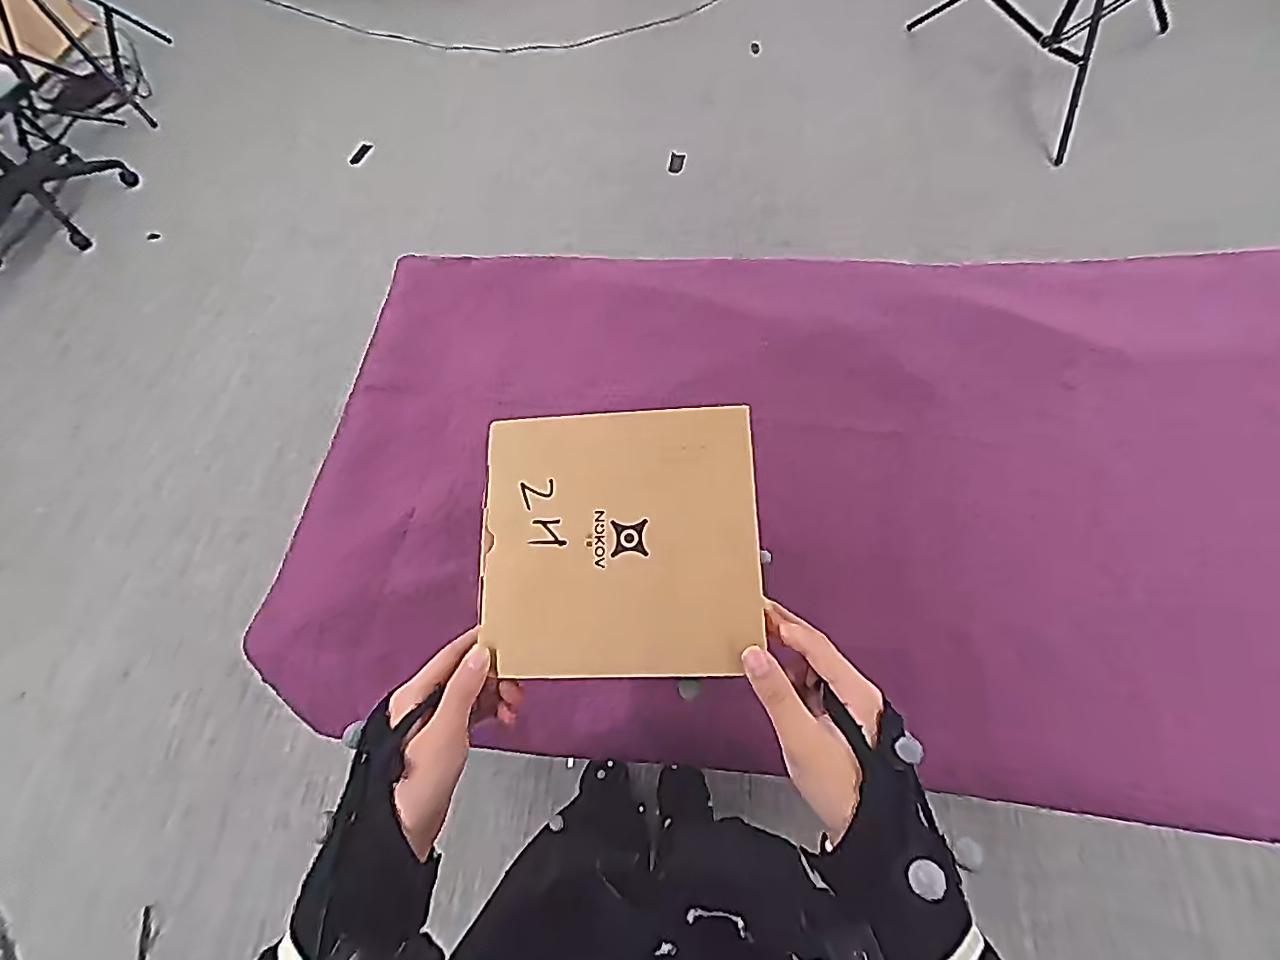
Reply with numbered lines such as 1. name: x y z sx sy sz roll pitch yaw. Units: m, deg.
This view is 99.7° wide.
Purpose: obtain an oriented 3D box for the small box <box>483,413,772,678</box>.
1. small box: -0.001 0.057 0.416 0.179 0.176 0.168 -3 74 7
